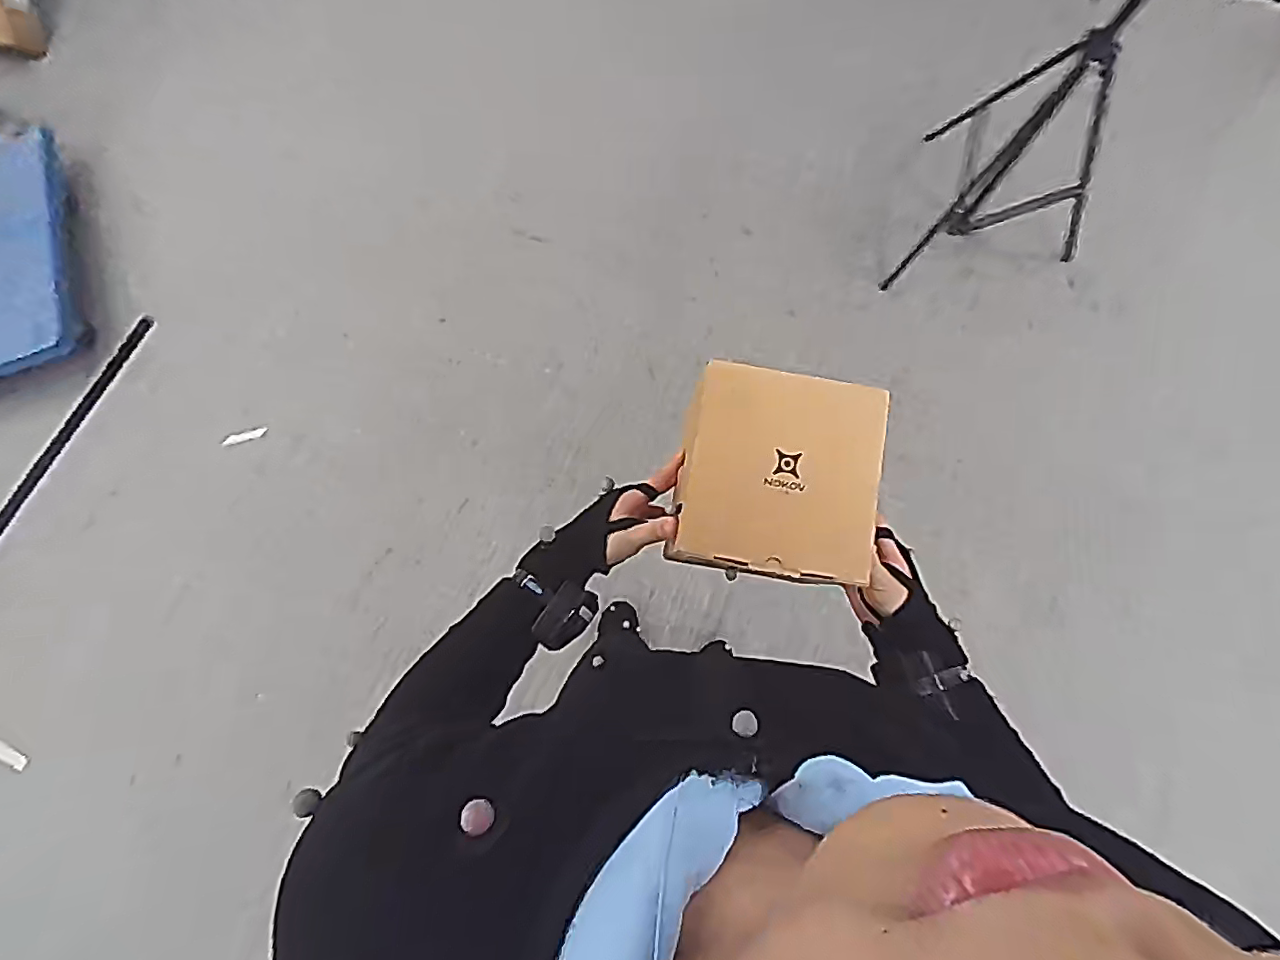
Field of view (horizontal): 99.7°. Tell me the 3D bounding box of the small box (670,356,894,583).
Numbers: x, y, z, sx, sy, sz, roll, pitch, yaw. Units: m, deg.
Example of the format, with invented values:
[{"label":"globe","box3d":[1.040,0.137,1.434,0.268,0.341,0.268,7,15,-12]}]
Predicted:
[{"label":"small box","box3d":[0.126,0.001,0.535,0.168,0.176,0.179,9,81,0]}]
